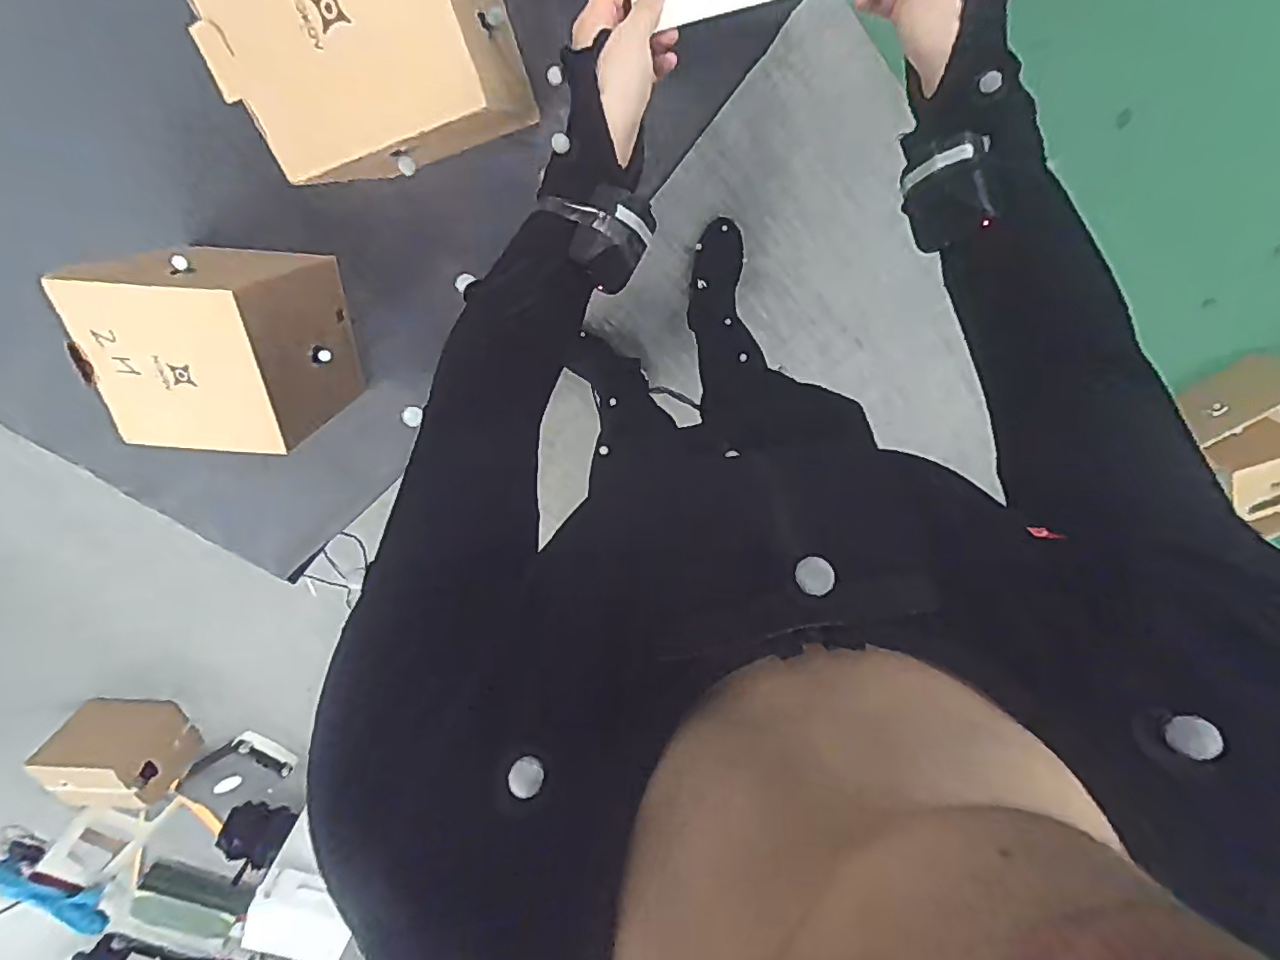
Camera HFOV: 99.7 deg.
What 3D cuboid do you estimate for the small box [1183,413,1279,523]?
[{"bbox_3d":[1.477,-0.032,1.313,0.168,0.176,0.179,-24,118,19],"label":"small box"}]

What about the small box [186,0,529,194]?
[{"bbox_3d":[-0.203,-0.349,0.430,0.179,0.176,0.168,-12,120,13],"label":"small box"}]

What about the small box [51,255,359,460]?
[{"bbox_3d":[-0.430,-0.138,0.580,0.179,0.176,0.168,4,122,2],"label":"small box"}]
